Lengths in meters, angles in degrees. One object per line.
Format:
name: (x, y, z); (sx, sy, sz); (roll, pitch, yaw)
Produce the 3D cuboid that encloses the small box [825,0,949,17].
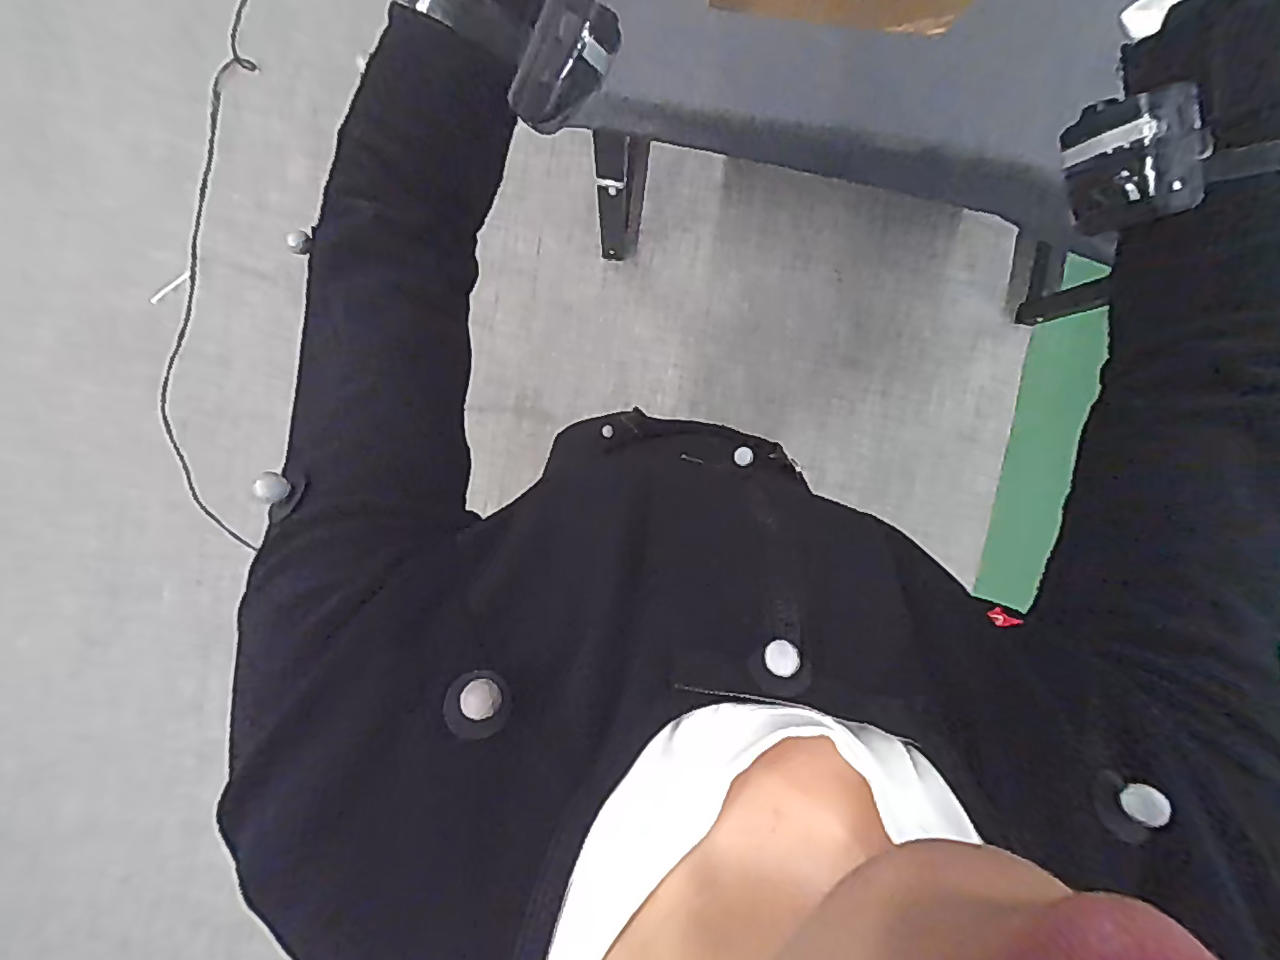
small box: (0.146, -0.407, 0.298); (0.179, 0.176, 0.168); (5, 96, -4)
